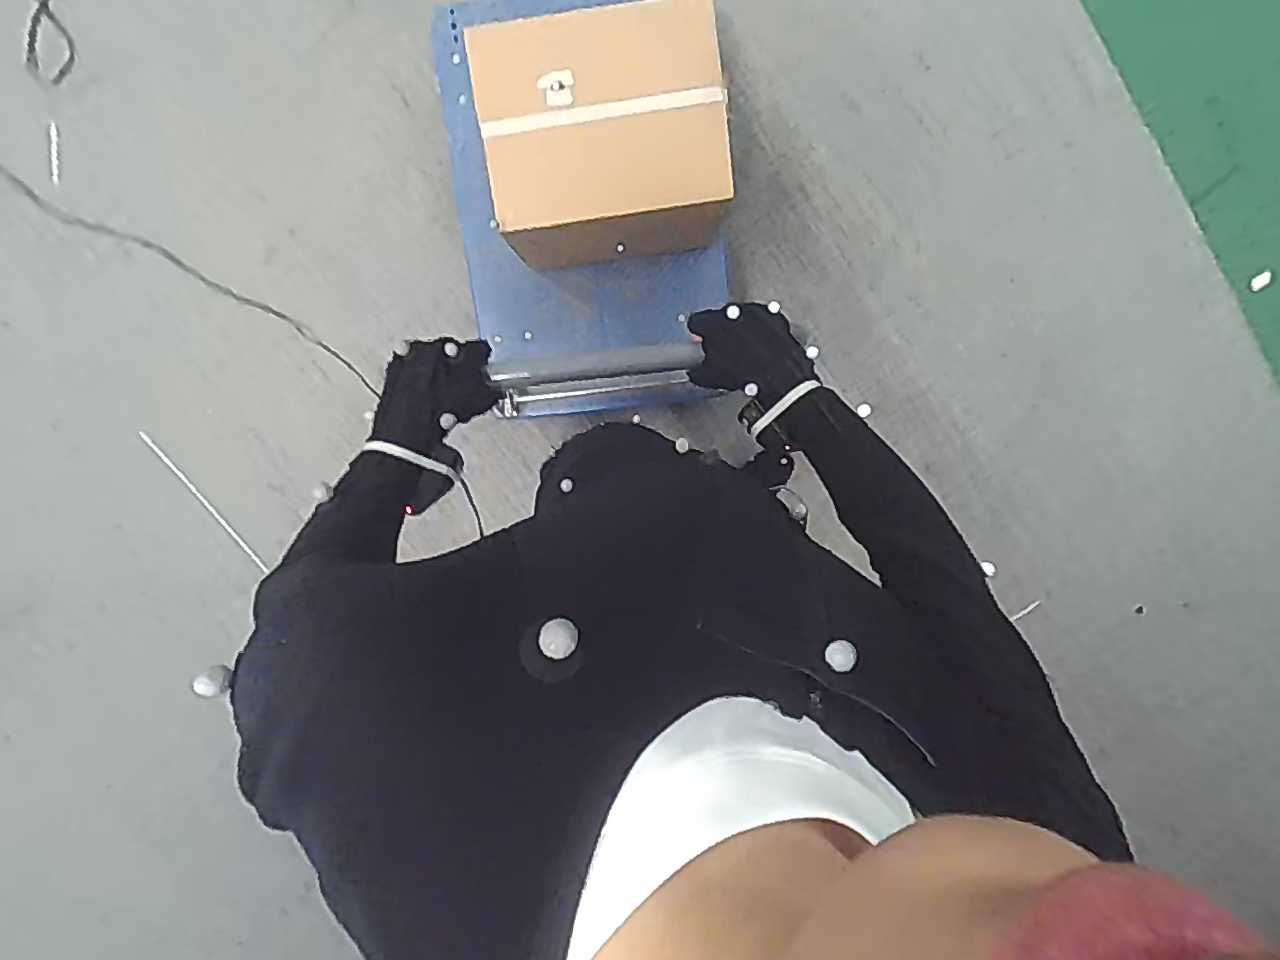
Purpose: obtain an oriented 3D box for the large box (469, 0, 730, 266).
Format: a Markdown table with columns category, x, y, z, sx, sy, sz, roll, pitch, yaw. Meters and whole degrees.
| category | x | y | z | sx | sy | sz | roll | pitch | yaw |
| --- | --- | --- | --- | --- | --- | --- | --- | --- | --- |
| large box | -0.060 | -0.629 | 1.044 | 0.408 | 0.320 | 0.320 | -8 | 99 | 2 |
